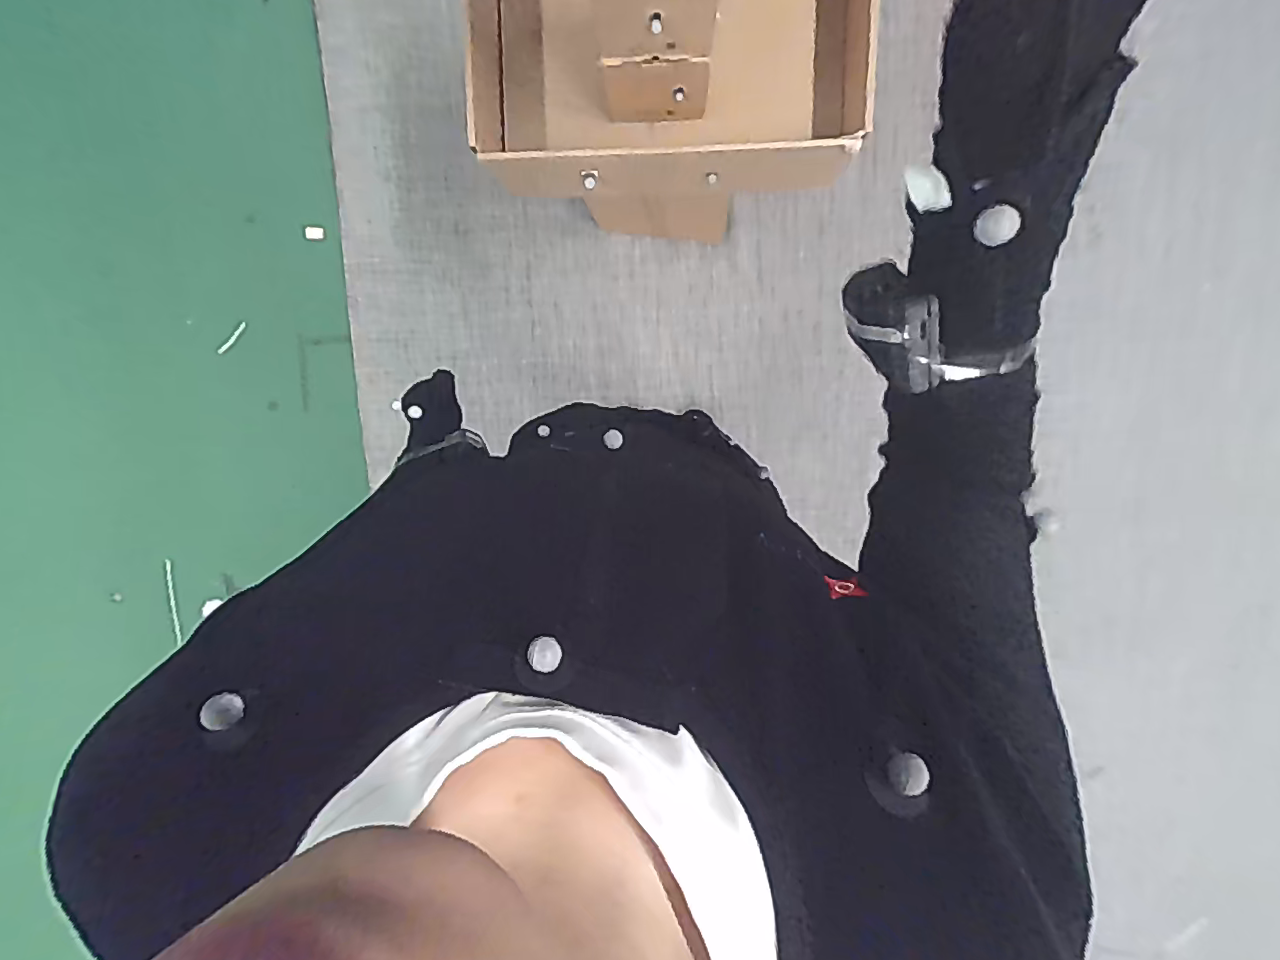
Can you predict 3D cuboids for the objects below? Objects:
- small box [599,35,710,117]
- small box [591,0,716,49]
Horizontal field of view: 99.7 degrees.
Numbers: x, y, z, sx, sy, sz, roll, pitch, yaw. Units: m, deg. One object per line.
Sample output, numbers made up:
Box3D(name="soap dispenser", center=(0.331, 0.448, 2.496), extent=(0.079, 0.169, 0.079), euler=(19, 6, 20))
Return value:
Box3D(name="small box", center=(0.024, -0.709, 0.861), extent=(0.168, 0.176, 0.179), euler=(-1, 96, 2))
Box3D(name="small box", center=(0.018, -0.695, 0.698), extent=(0.168, 0.176, 0.179), euler=(0, 99, 2))
